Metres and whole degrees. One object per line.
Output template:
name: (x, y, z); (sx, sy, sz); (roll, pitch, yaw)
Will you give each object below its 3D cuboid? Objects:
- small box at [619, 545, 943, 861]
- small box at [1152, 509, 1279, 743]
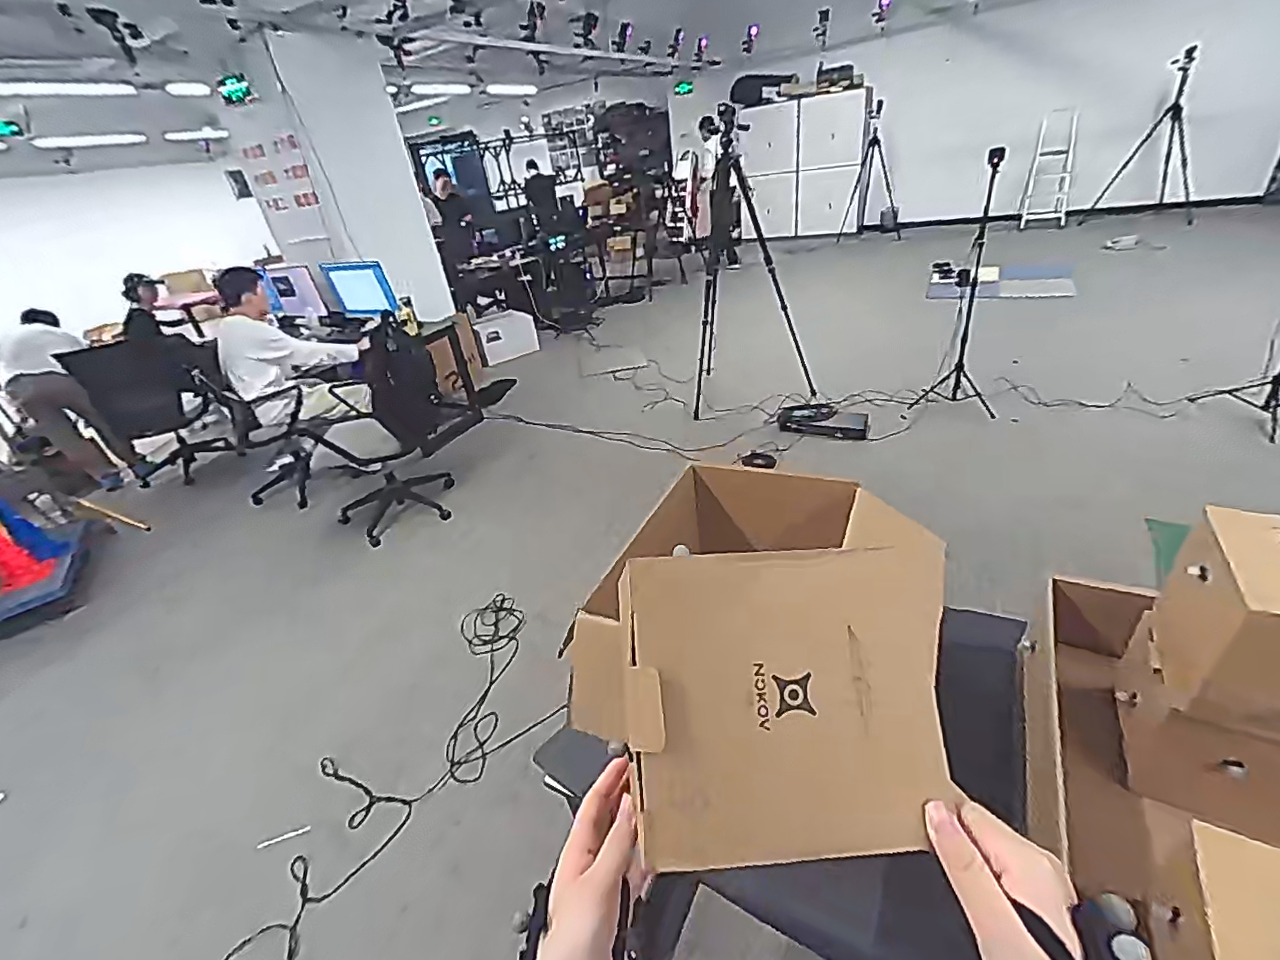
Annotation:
small box: (0.074, 0.140, 0.390); (0.179, 0.168, 0.176); (-2, -12, -5)
small box: (0.691, 0.159, 0.576); (0.168, 0.176, 0.179); (10, 37, 28)
